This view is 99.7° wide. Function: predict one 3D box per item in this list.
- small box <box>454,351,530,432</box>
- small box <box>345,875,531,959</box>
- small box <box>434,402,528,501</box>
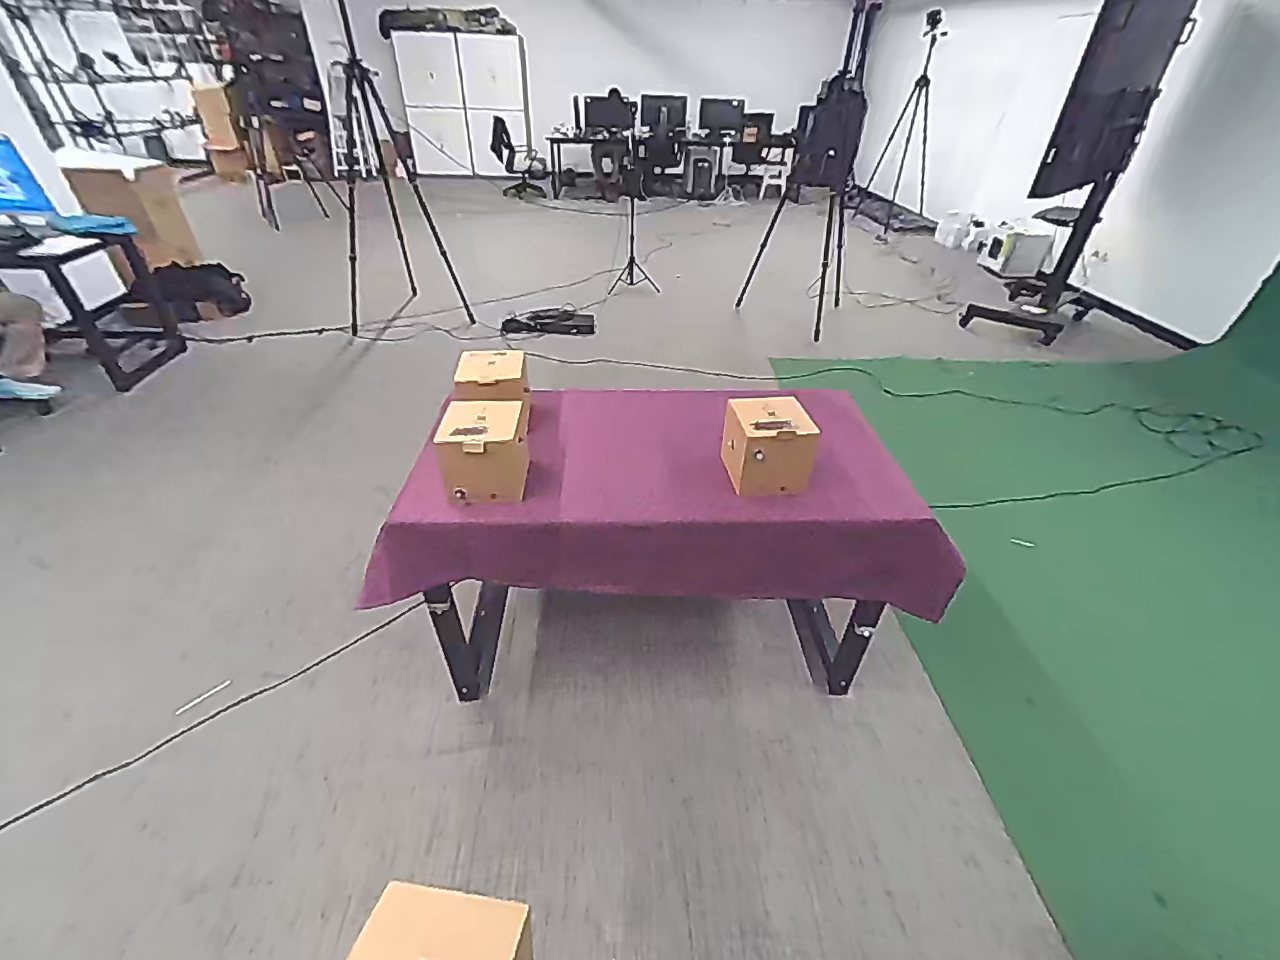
[{"bbox_3d":[-0.389,-0.231,1.453,0.168,0.176,0.179,-2,38,-6],"label":"small box"},{"bbox_3d":[-0.217,0.562,0.554,0.168,0.176,0.179,4,21,7],"label":"small box"},{"bbox_3d":[-0.352,-0.063,1.233,0.168,0.176,0.179,-1,36,-4],"label":"small box"}]
